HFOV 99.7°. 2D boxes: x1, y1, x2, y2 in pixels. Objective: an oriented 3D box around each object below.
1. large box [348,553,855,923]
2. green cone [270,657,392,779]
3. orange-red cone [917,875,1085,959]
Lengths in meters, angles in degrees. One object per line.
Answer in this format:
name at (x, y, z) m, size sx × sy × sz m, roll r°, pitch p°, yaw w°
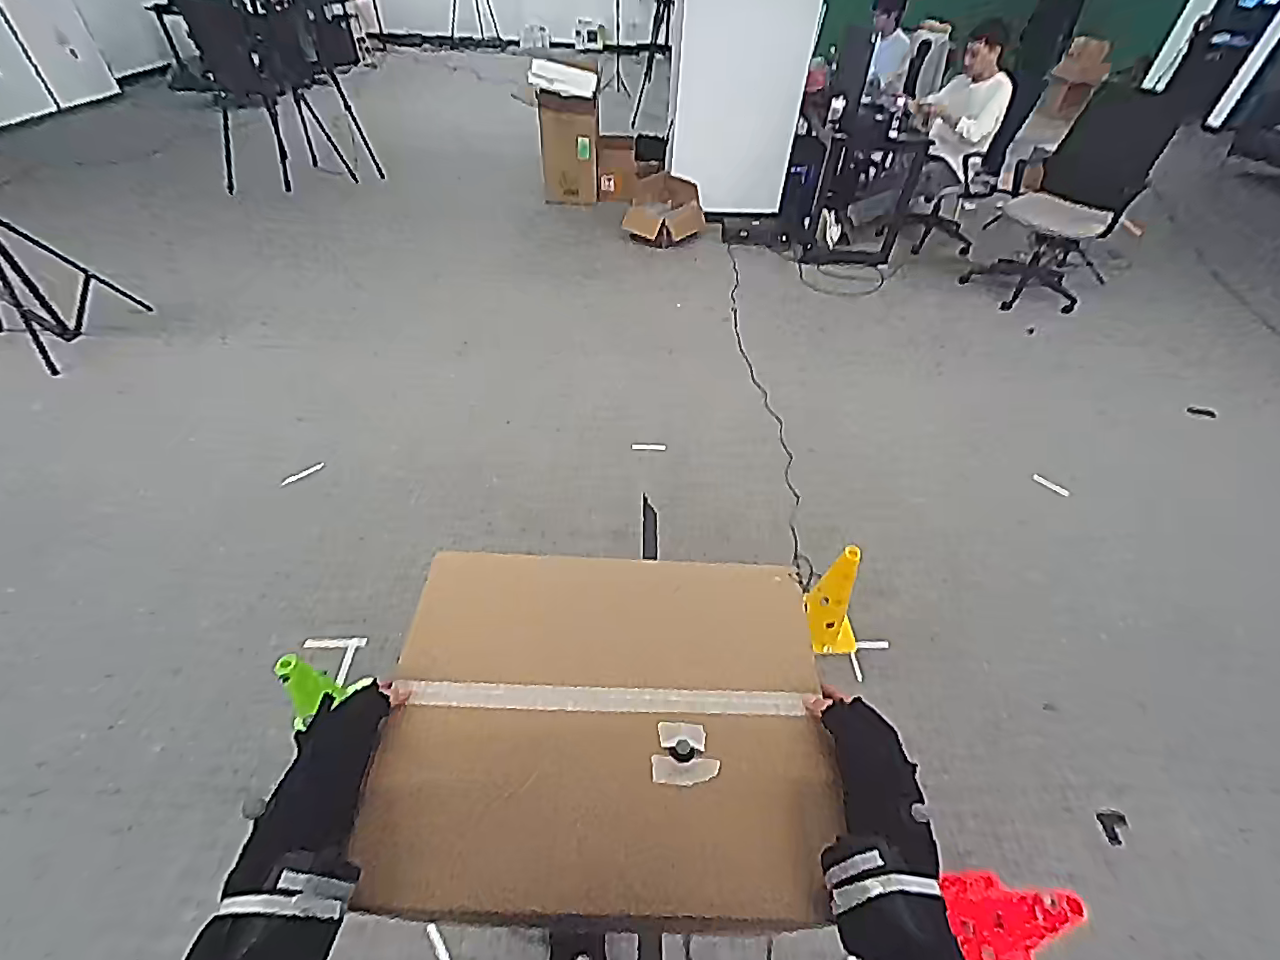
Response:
large box at (-0.035, 0.303, 0.625) m, size 0.408 × 0.320 × 0.320 m, roll 3°, pitch 48°, yaw -2°
green cone at (-0.764, 0.513, 1.277) m, size 0.202 × 0.368 × 0.200 m, roll -28°, pitch 52°, yaw -26°
orange-red cone at (0.719, 0.838, 1.030) m, size 0.198 × 0.360 × 0.199 m, roll 1°, pitch 43°, yaw -4°
